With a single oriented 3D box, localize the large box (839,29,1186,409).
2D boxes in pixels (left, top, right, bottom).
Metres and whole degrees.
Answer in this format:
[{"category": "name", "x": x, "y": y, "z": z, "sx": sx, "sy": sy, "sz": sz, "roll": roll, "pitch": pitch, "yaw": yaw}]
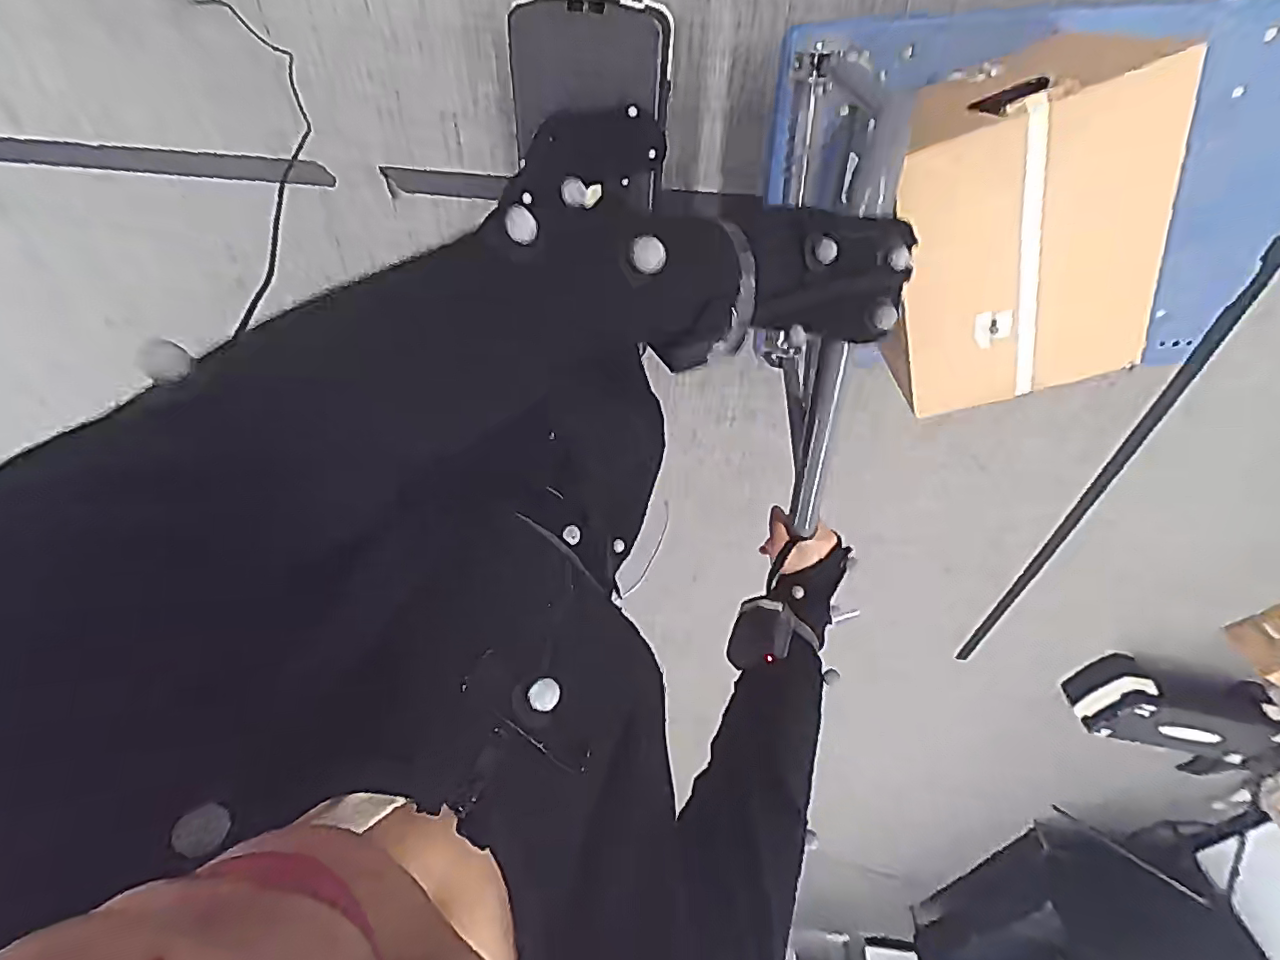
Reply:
[{"category": "large box", "x": 0.529, "y": -0.392, "z": 0.848, "sx": 0.320, "sy": 0.320, "sz": 0.408, "roll": -14, "pitch": 129, "yaw": 18}]
